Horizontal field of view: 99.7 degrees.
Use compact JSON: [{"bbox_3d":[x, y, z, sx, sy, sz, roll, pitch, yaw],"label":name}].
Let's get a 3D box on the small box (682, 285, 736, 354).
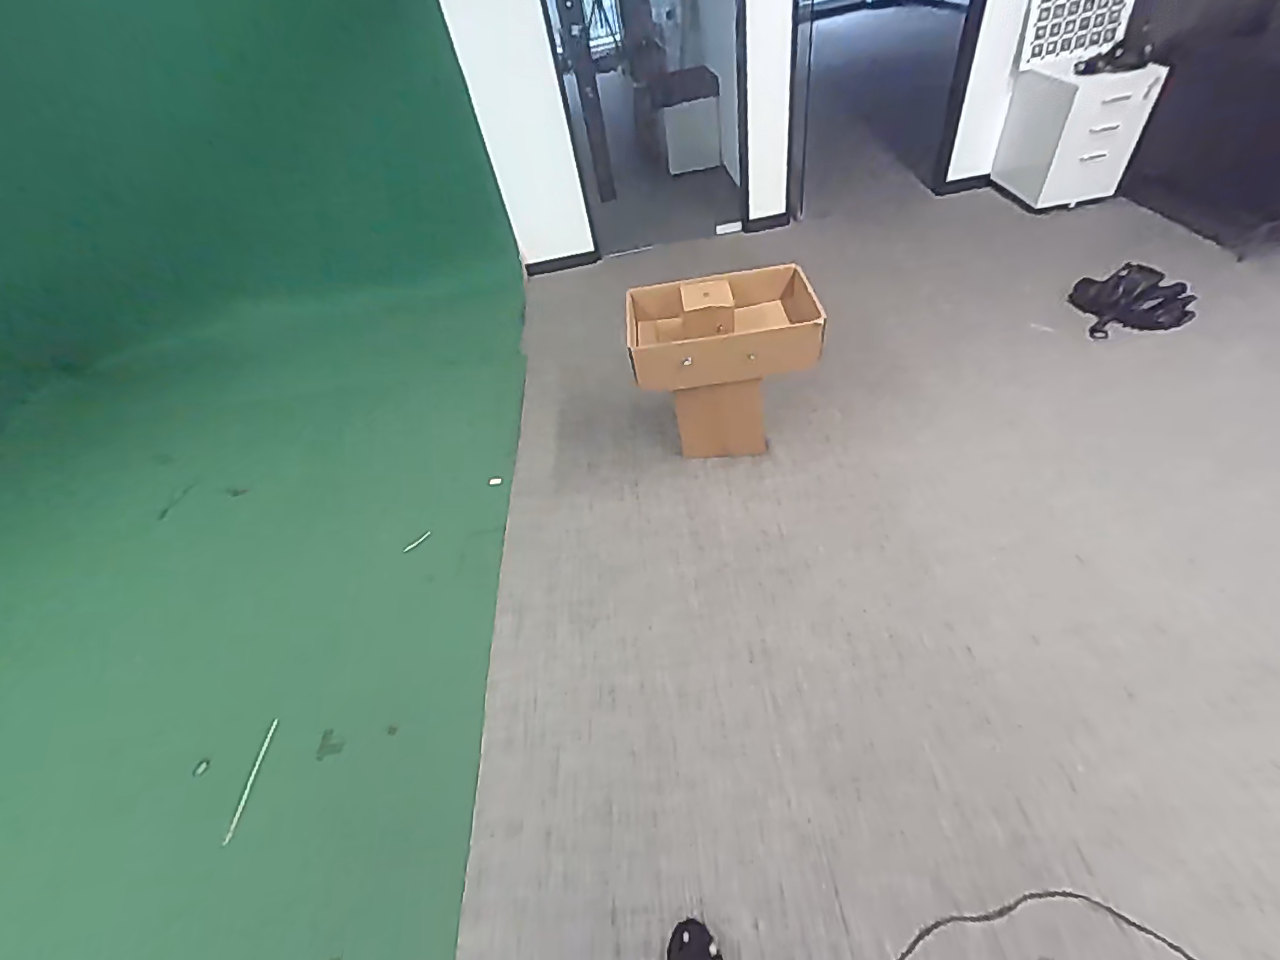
[{"bbox_3d":[0.237,-0.544,1.854,0.168,0.176,0.179,-6,43,3],"label":"small box"}]
